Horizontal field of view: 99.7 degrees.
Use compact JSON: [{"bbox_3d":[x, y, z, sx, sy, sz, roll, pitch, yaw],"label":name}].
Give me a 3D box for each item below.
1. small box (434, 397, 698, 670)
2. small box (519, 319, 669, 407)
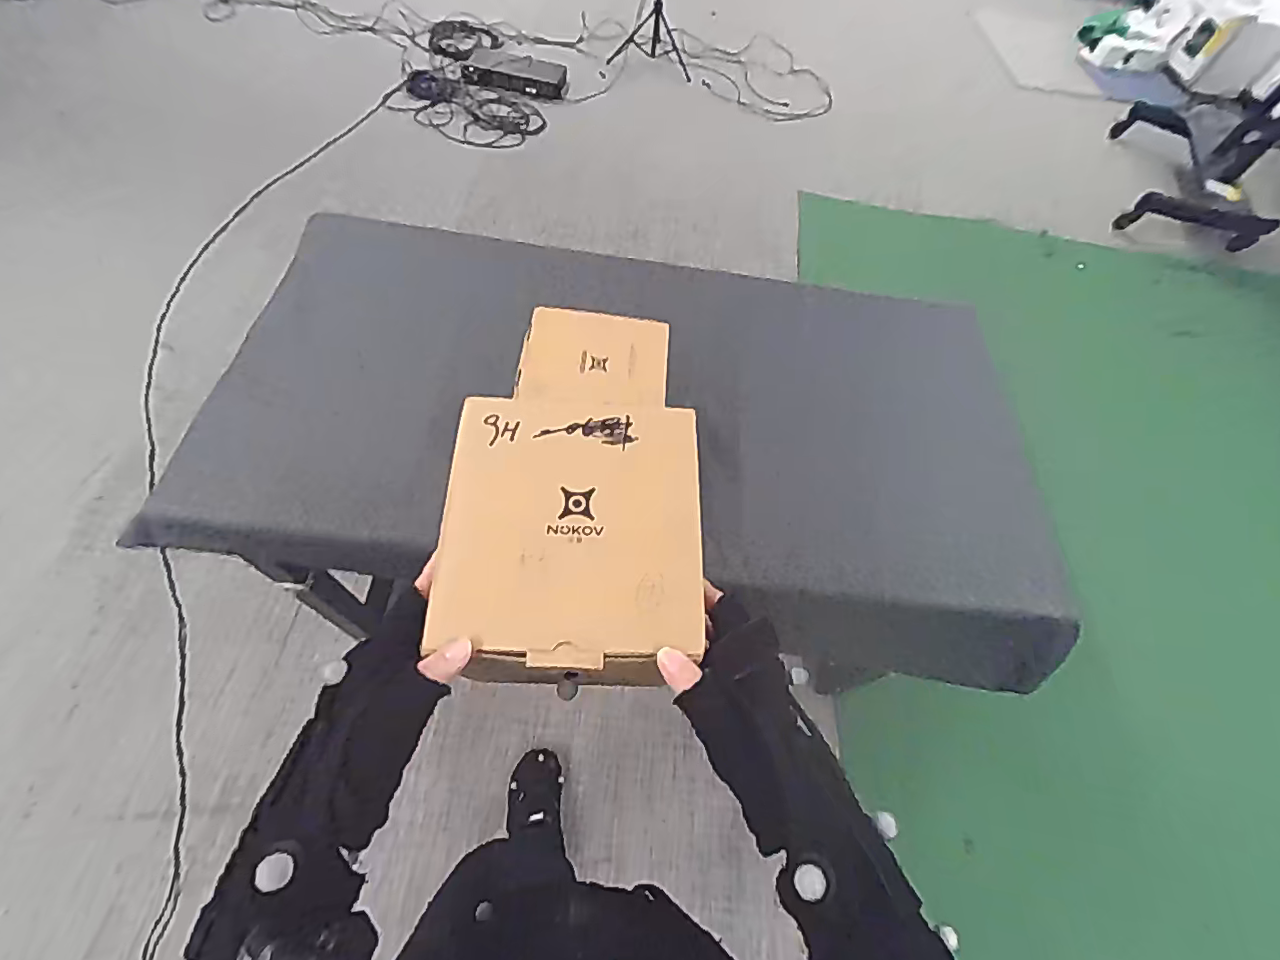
[{"bbox_3d":[-0.048,0.055,0.436,0.168,0.176,0.179,3,65,-5],"label":"small box"},{"bbox_3d":[-0.062,-0.090,0.734,0.179,0.176,0.168,6,60,-5],"label":"small box"}]
